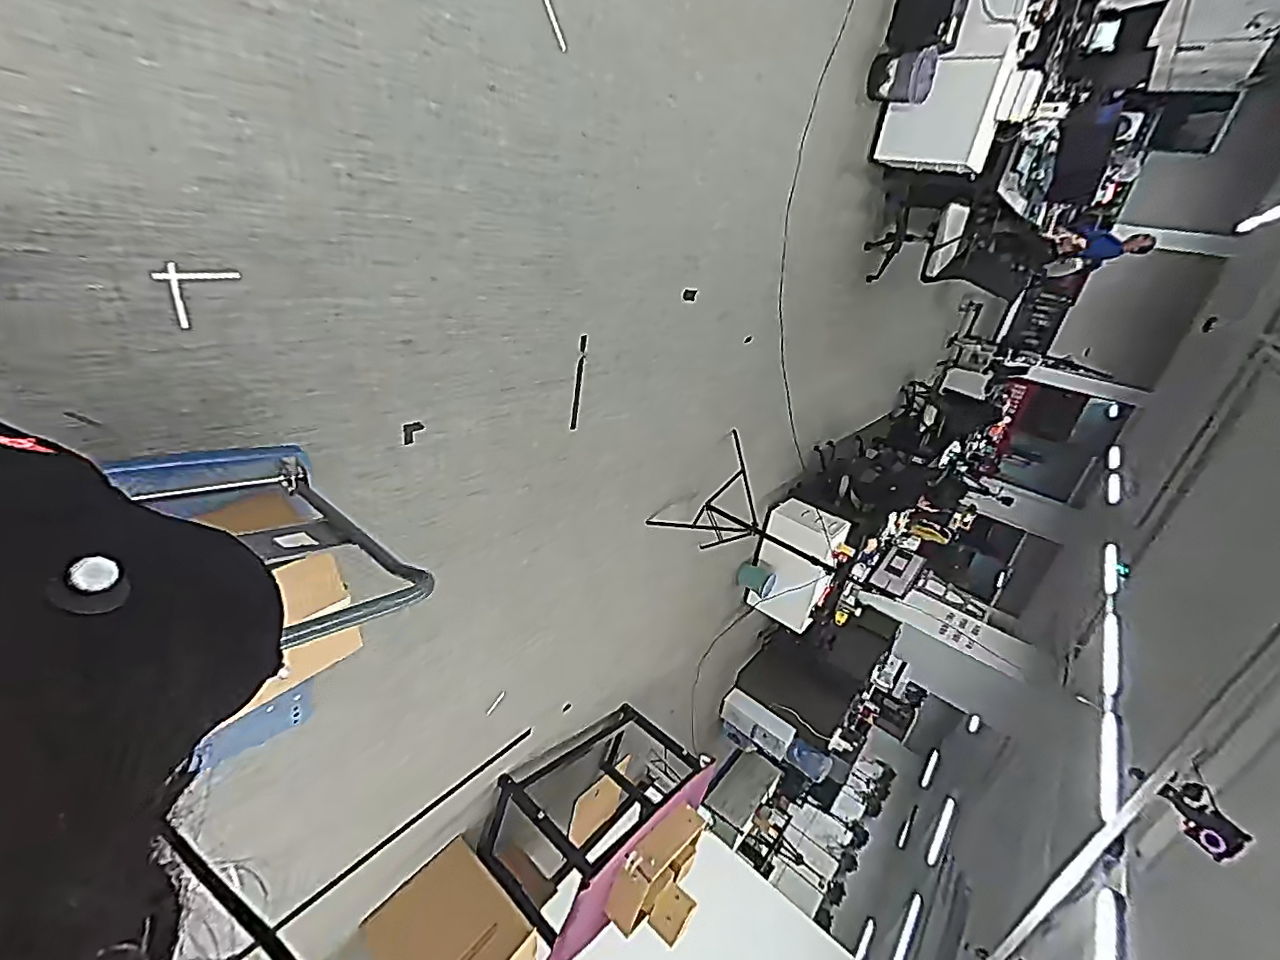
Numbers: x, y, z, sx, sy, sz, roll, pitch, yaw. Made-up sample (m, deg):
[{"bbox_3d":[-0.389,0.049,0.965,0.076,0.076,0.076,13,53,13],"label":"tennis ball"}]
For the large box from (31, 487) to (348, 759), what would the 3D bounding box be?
[{"bbox_3d":[-0.920,0.269,1.147,0.408,0.320,0.320,-29,134,-41],"label":"large box"}]
